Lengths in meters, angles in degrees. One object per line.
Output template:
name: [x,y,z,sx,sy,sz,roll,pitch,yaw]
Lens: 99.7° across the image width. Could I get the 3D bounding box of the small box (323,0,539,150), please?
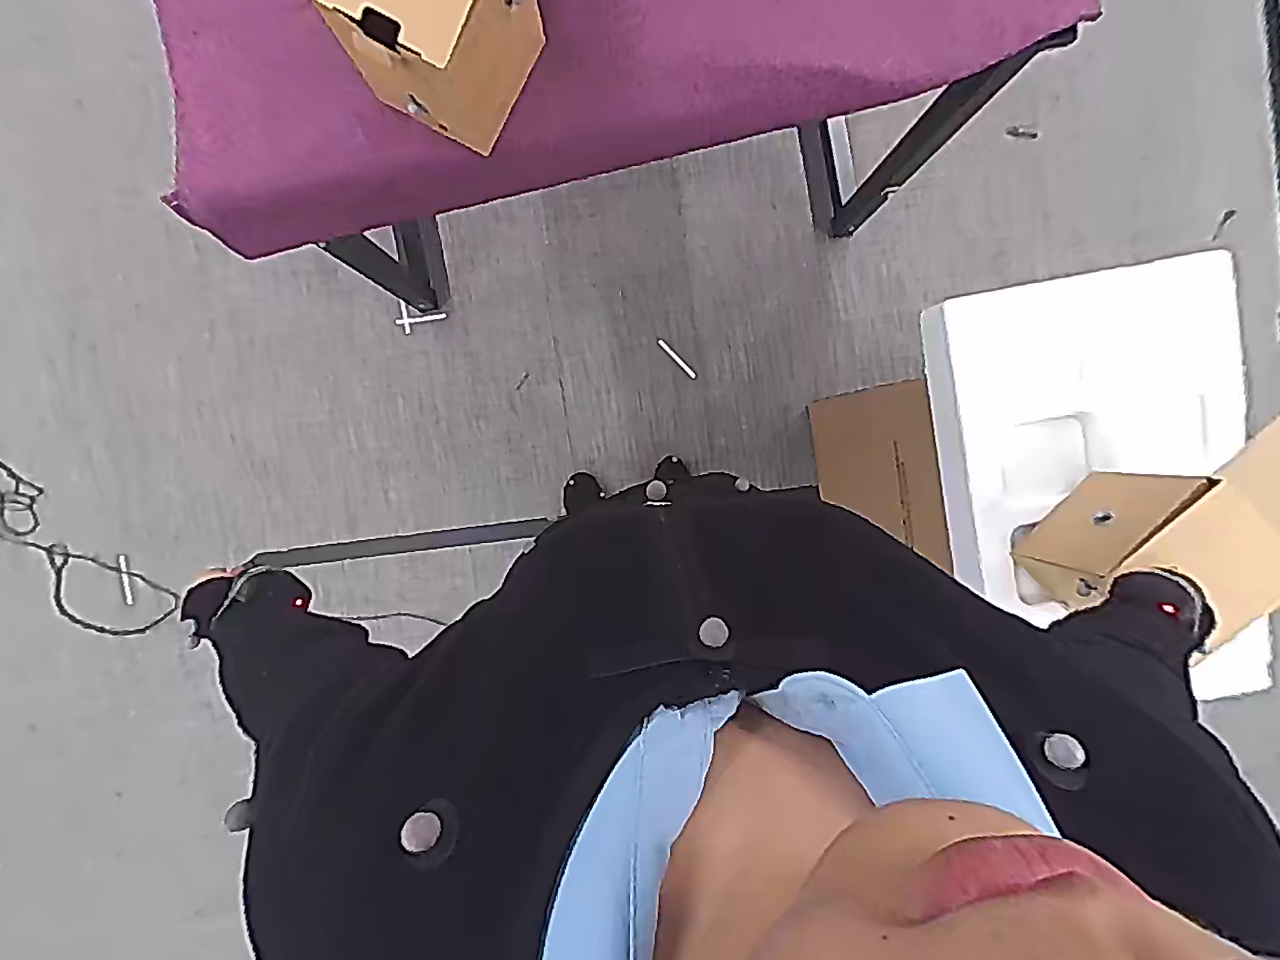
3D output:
small box: [-0.235,-0.553,0.648,0.168,0.176,0.179,28,92,-1]
